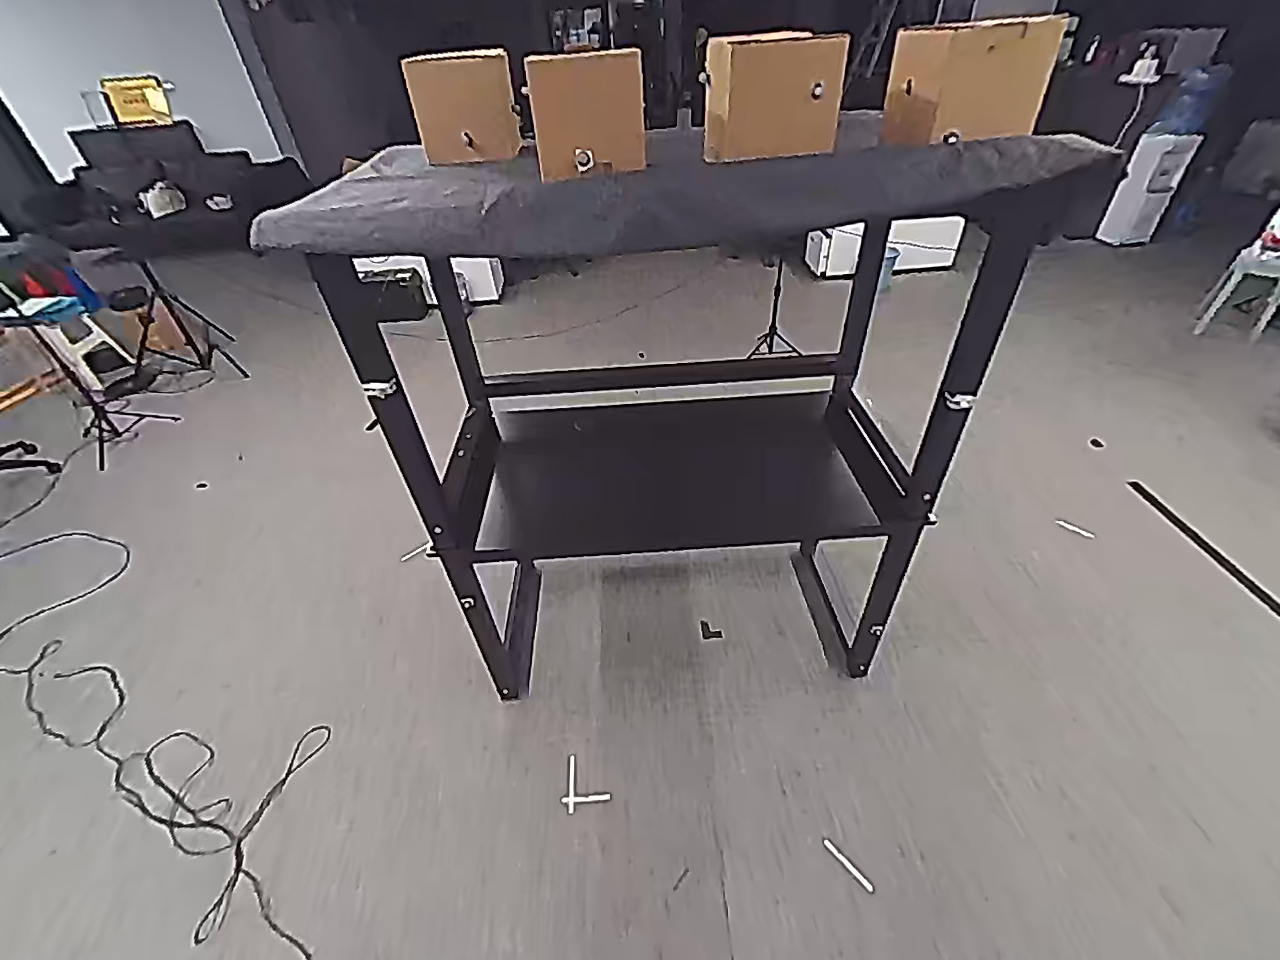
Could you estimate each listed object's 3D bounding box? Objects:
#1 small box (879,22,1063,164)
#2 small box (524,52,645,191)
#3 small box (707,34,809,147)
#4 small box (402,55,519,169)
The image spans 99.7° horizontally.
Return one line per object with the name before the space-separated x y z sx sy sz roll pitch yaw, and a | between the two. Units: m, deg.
small box | 0.510 -0.615 0.865 0.168 0.176 0.179 -6 39 -2
small box | -0.085 -0.572 0.865 0.168 0.176 0.179 -7 39 -3
small box | 0.230 -0.785 1.096 0.168 0.176 0.179 -5 40 -1
small box | -0.346 -0.737 1.083 0.179 0.176 0.168 -5 40 -2
